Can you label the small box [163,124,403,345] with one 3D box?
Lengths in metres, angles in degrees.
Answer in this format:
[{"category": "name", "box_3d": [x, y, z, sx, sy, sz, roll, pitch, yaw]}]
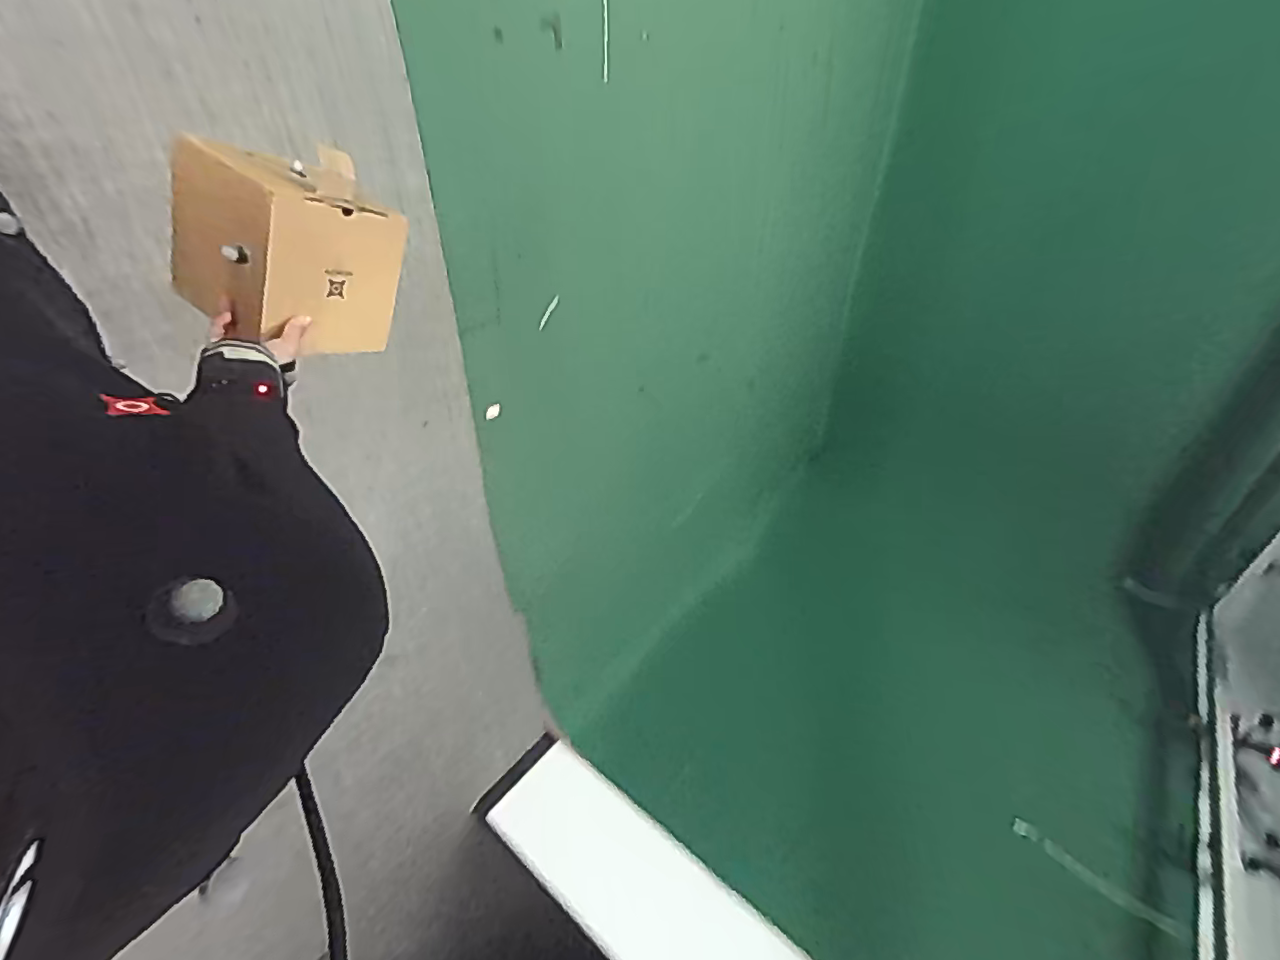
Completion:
[{"category": "small box", "box_3d": [-0.418, -0.277, 0.637, 0.168, 0.176, 0.179, -31, 148, -61]}]
